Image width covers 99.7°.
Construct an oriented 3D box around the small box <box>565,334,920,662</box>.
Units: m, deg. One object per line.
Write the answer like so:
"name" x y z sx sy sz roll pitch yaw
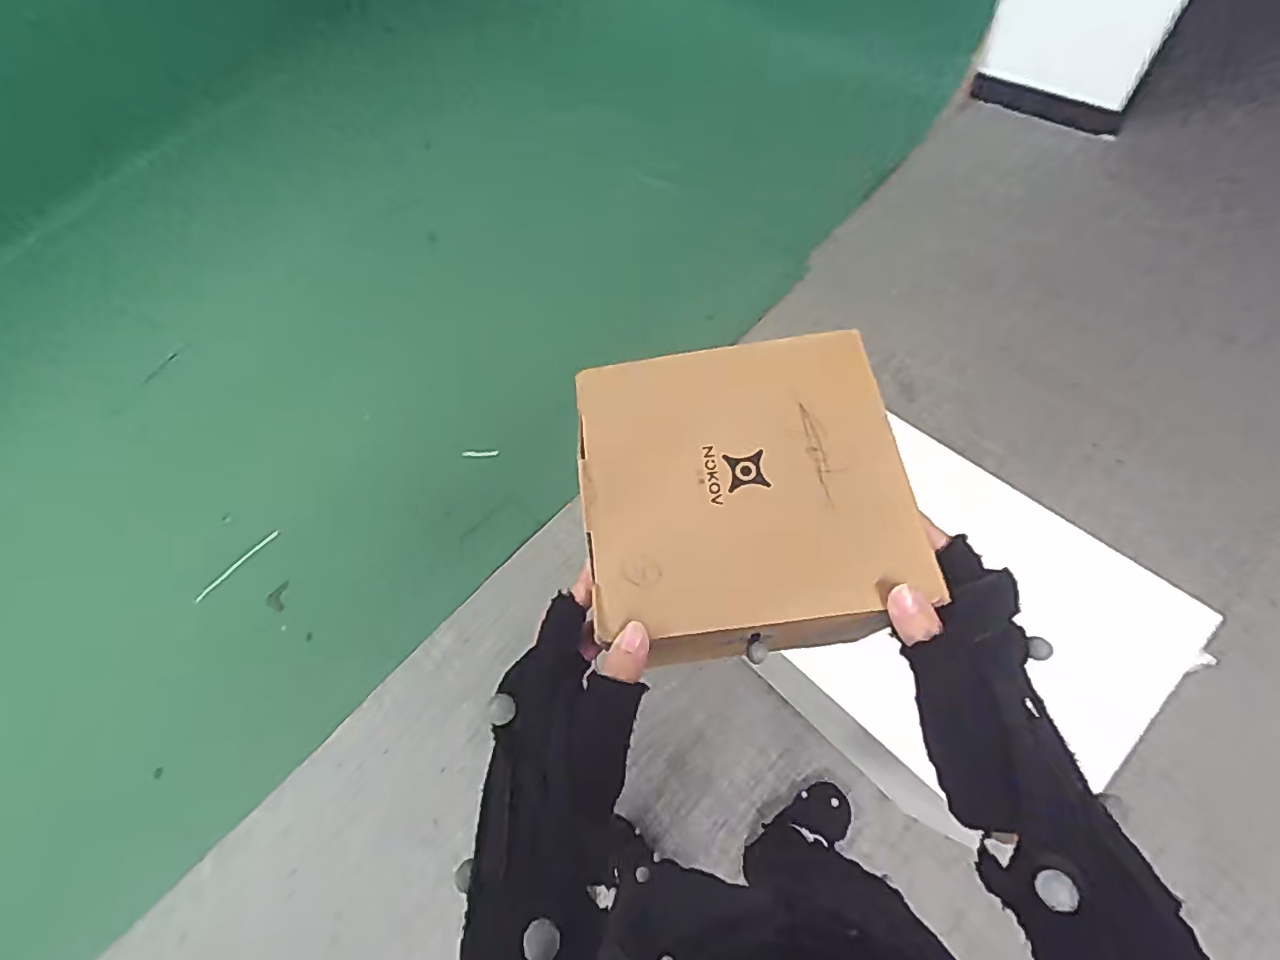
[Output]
"small box" 0.056 0.027 0.381 0.179 0.176 0.168 -10 67 2
